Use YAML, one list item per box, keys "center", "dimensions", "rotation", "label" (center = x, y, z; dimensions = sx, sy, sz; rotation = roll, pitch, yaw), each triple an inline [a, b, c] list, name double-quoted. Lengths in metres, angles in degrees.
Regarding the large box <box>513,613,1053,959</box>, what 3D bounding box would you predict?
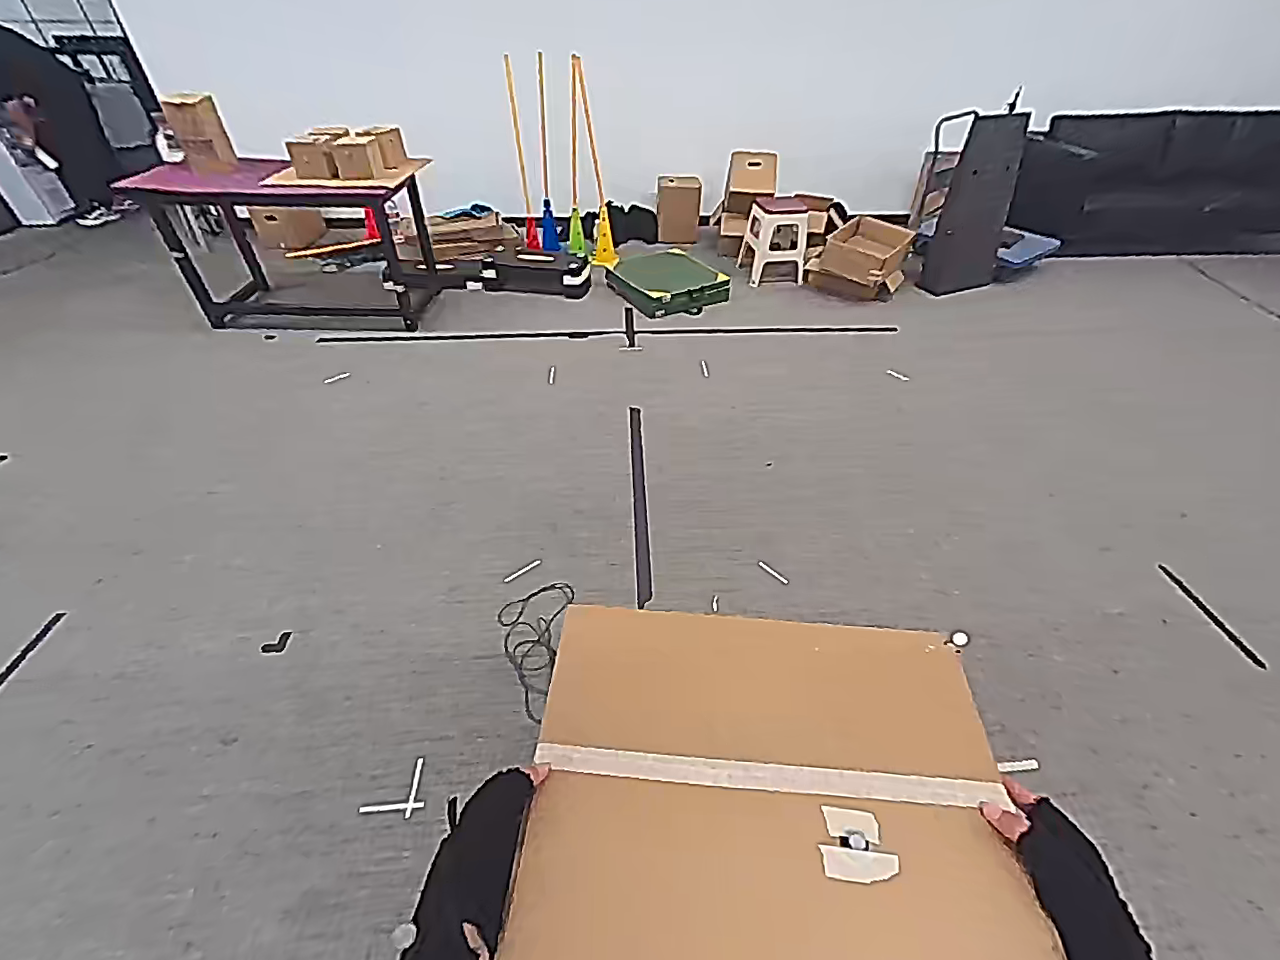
- center: [0.112, 0.371, 0.587]
  dimensions: [0.408, 0.320, 0.320]
  rotation: [4, 46, 4]
  label: "large box"
